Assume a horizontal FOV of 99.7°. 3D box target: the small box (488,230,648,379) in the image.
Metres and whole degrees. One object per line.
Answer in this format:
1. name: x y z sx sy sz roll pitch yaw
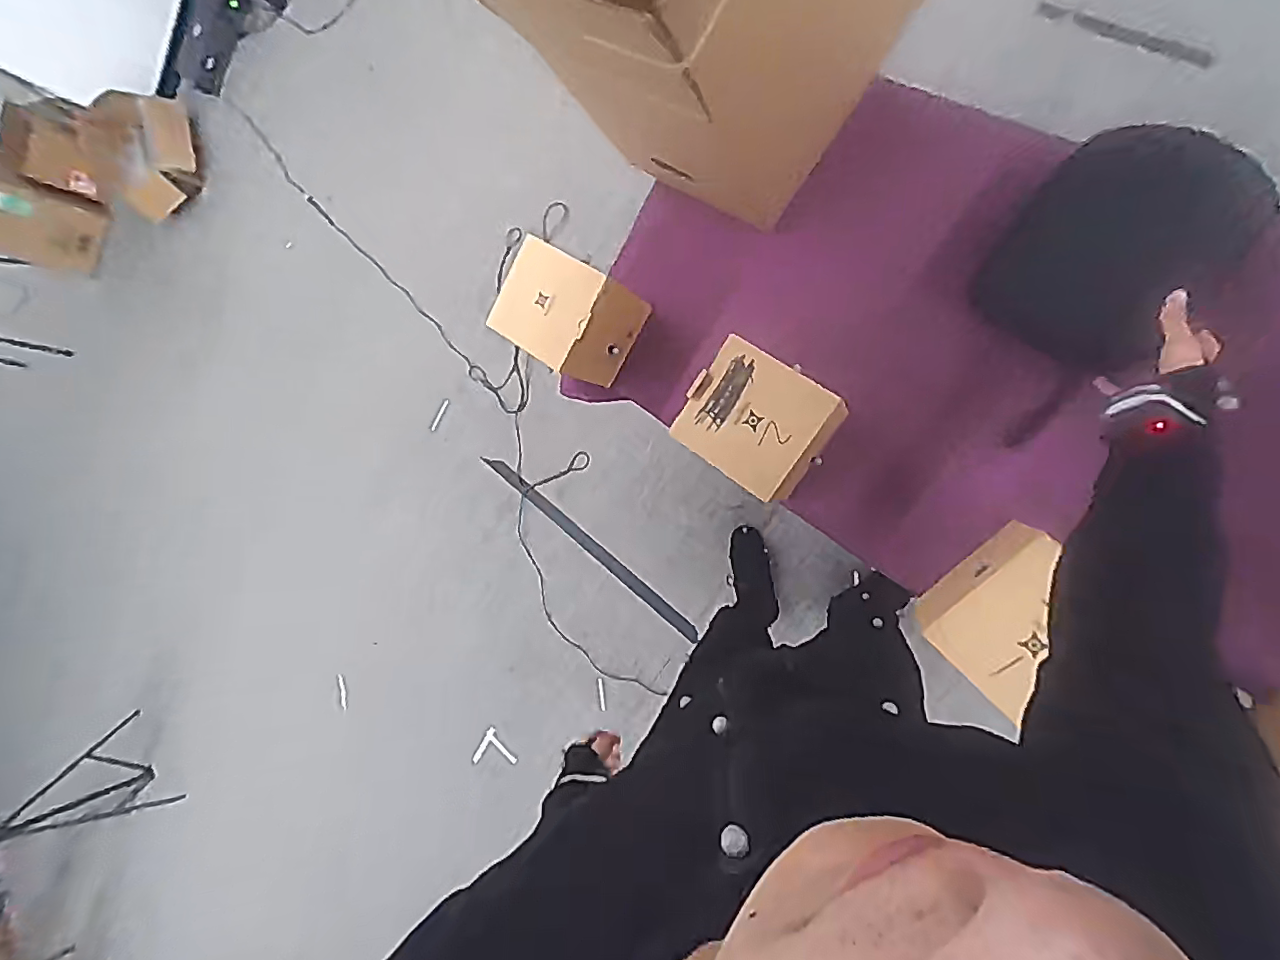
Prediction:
1. small box: -0.118 -0.290 0.931 0.179 0.176 0.168 35 104 19
